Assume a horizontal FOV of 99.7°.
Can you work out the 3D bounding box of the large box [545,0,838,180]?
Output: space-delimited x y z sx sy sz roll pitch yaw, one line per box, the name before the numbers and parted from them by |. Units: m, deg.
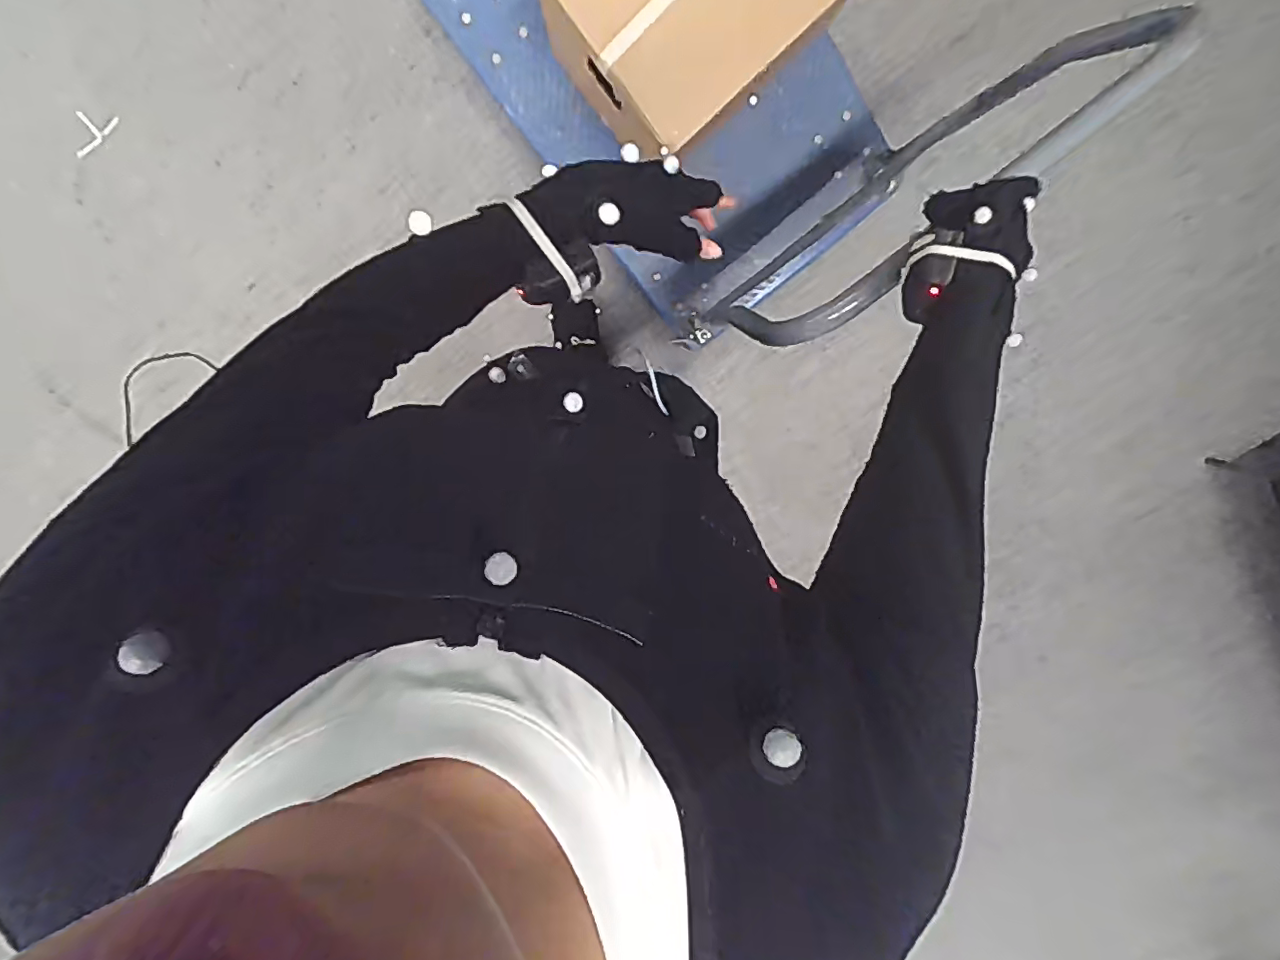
large box | 0.092 -0.795 0.905 0.408 0.320 0.320 -39 107 11
